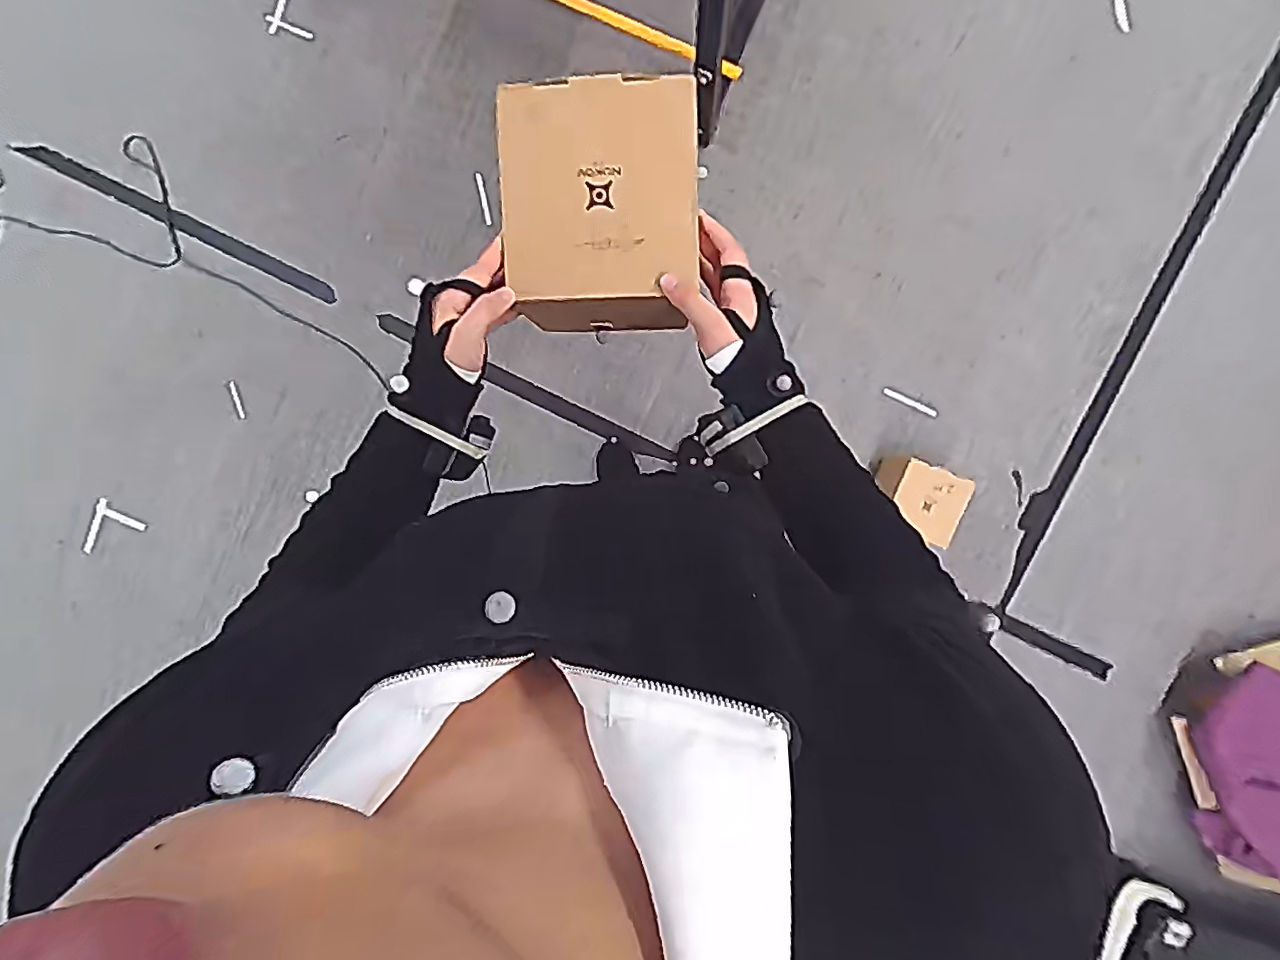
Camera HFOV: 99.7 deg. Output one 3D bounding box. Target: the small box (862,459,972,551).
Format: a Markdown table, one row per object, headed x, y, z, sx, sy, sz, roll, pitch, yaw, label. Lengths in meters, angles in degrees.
| x | y | z | sx | sy | sz | roll | pitch | yaw | label |
| --- | --- | --- | --- | --- | --- | --- | --- | --- | --- |
| 0.690 | 0.057 | 1.373 | 0.168 | 0.176 | 0.179 | 22 | 95 | 1 | small box |

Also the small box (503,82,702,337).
| x | y | z | sx | sy | sz | roll | pitch | yaw | label |
| --- | --- | --- | --- | --- | --- | --- | --- | --- | --- |
| -0.029 | -0.244 | 0.528 | 0.168 | 0.176 | 0.179 | -1 | 96 | 2 | small box |
